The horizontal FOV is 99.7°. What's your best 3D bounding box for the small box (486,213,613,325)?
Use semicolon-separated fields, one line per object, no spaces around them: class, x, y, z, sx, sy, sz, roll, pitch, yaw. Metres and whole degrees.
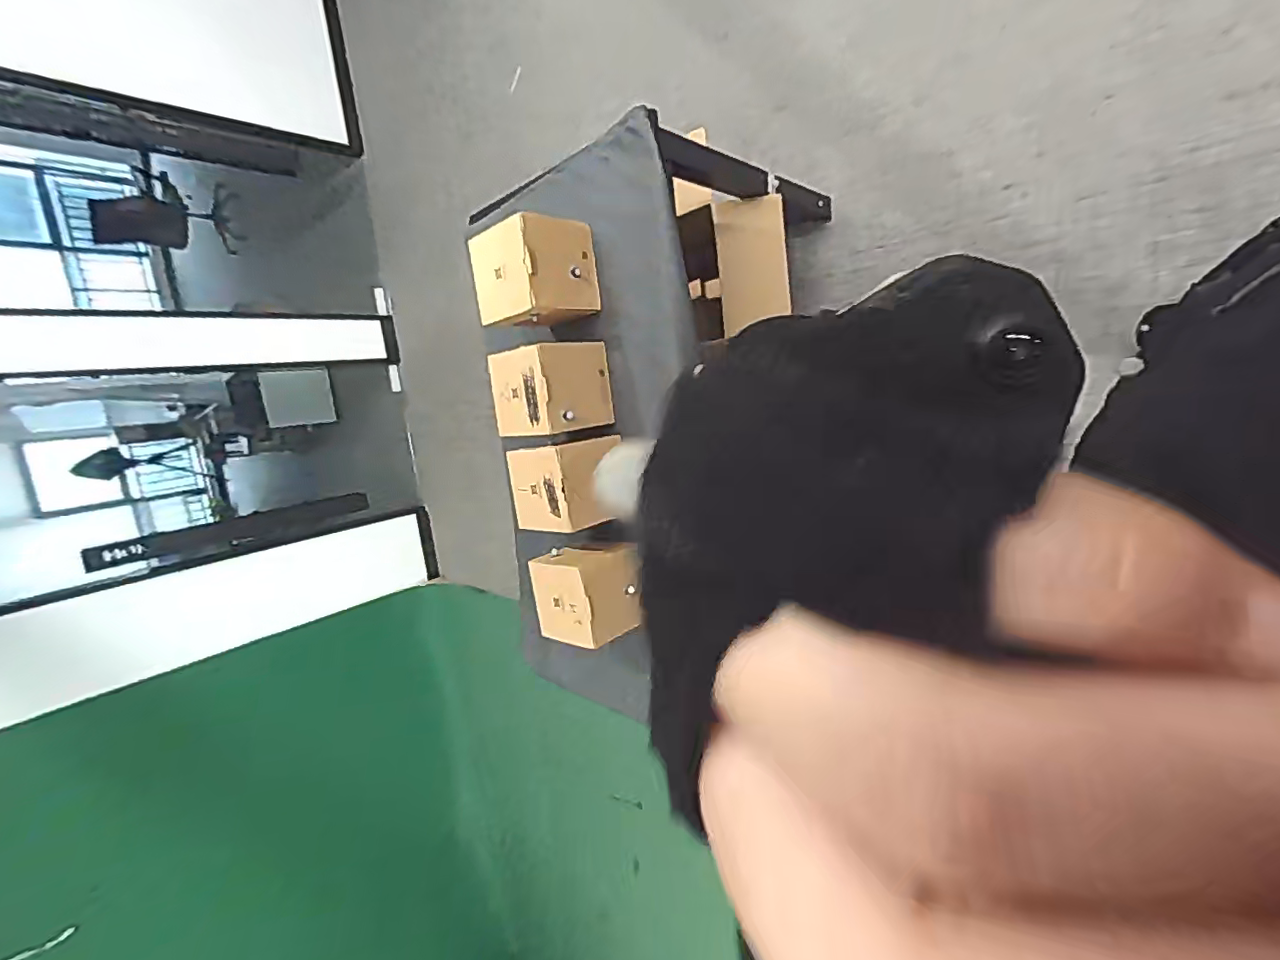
small box;-0.177;-0.404;1.071;0.179;0.176;0.168;0;102;45

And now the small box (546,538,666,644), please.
small box;-0.070;0.224;1.142;0.179;0.176;0.168;-4;99;46
